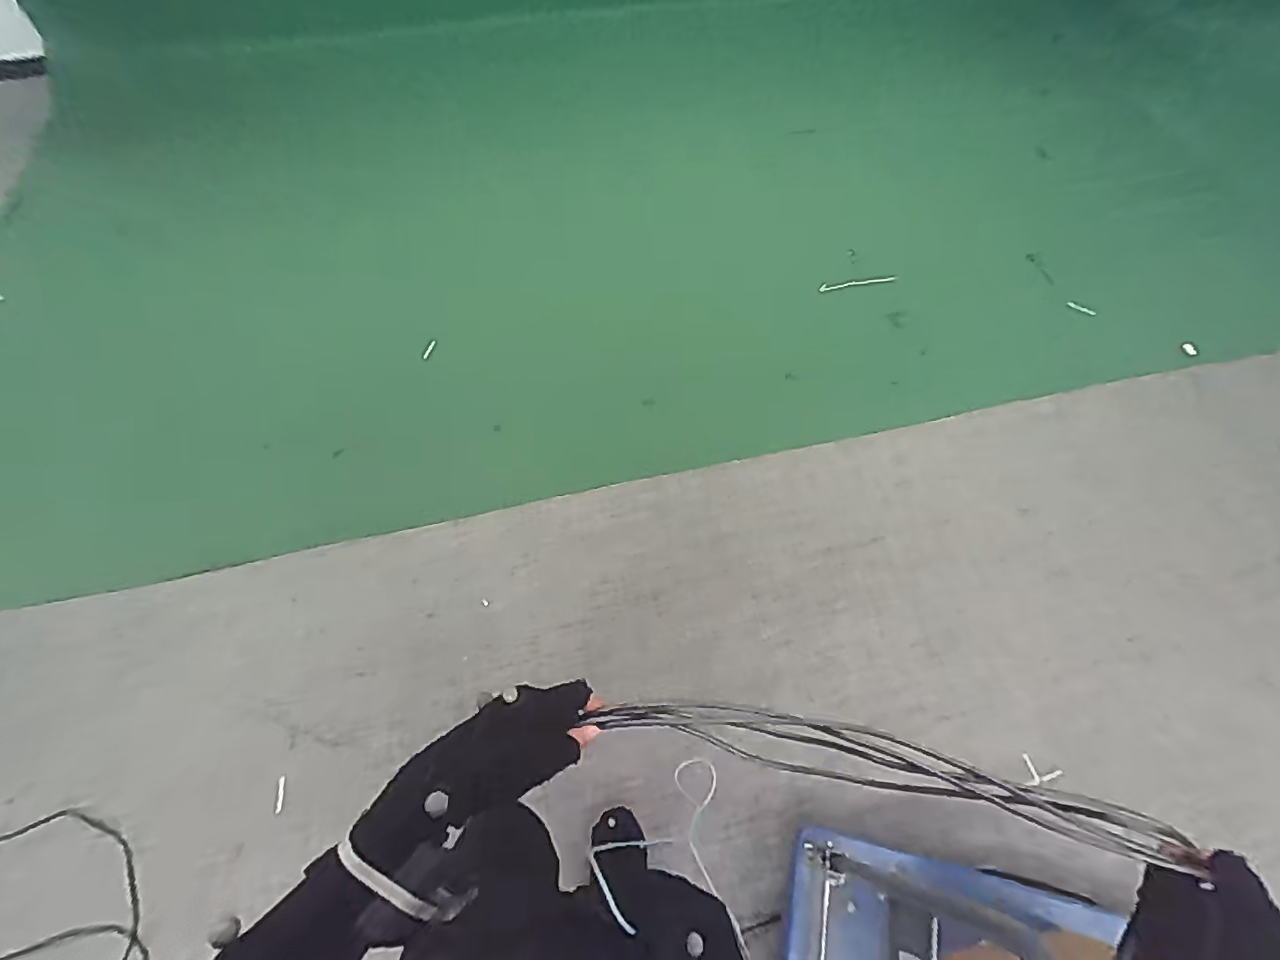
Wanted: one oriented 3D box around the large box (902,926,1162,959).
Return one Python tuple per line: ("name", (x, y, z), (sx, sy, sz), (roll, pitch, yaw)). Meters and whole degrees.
("large box", (0.642, 0.931, 0.760), (0.320, 0.320, 0.408), (-6, 60, -4))
